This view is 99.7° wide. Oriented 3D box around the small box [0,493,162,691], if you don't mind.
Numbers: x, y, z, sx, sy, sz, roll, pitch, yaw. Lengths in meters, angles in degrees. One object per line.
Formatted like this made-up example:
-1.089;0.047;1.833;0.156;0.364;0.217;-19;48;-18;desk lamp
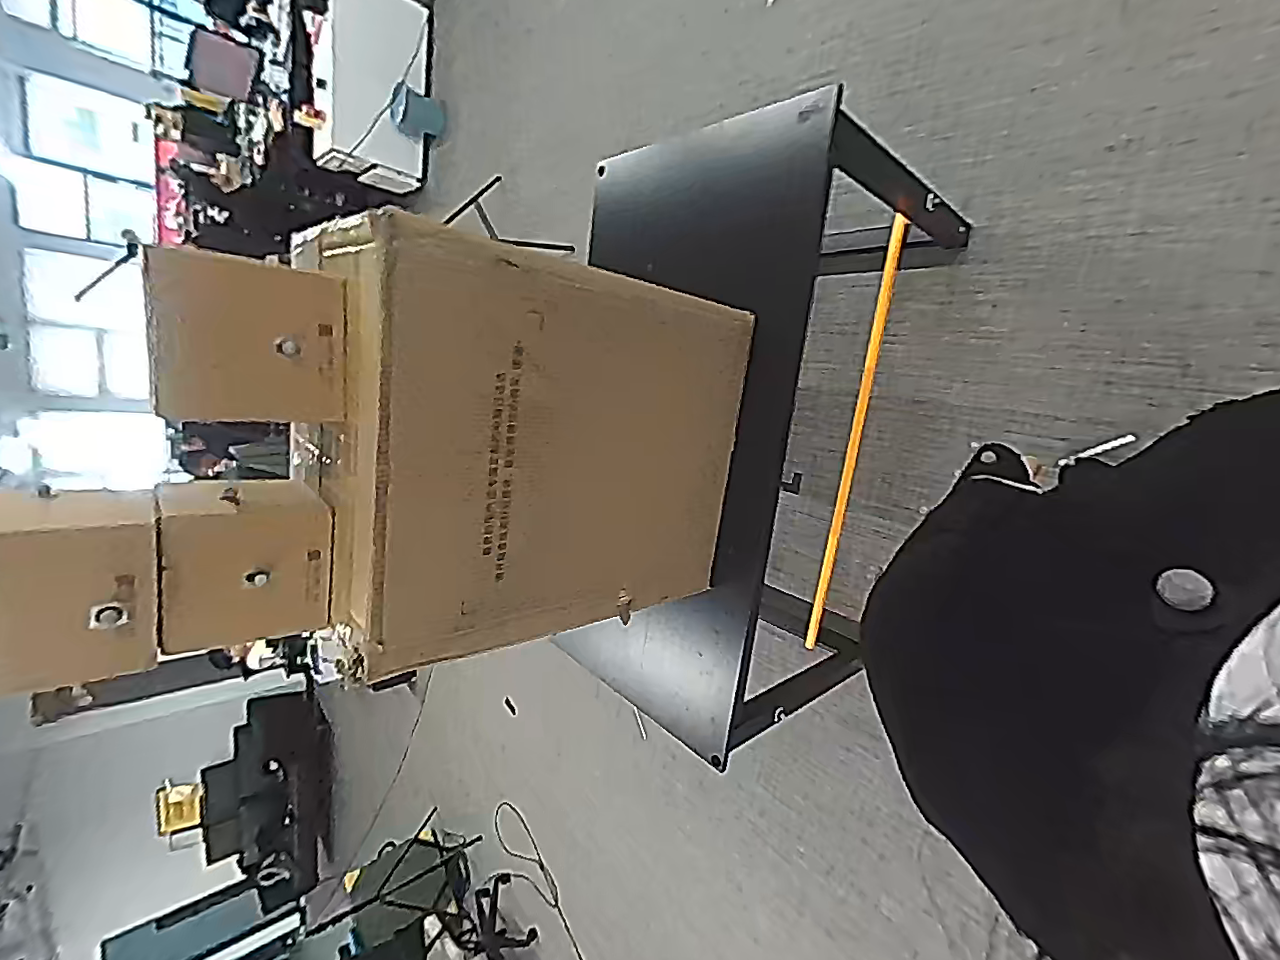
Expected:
-0.626;0.110;0.576;0.179;0.176;0.168;16;104;46;small box

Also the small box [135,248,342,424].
-0.460;-0.157;0.622;0.179;0.176;0.168;18;107;45;small box

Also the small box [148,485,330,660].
-0.514;0.101;0.697;0.179;0.176;0.168;17;103;45;small box
